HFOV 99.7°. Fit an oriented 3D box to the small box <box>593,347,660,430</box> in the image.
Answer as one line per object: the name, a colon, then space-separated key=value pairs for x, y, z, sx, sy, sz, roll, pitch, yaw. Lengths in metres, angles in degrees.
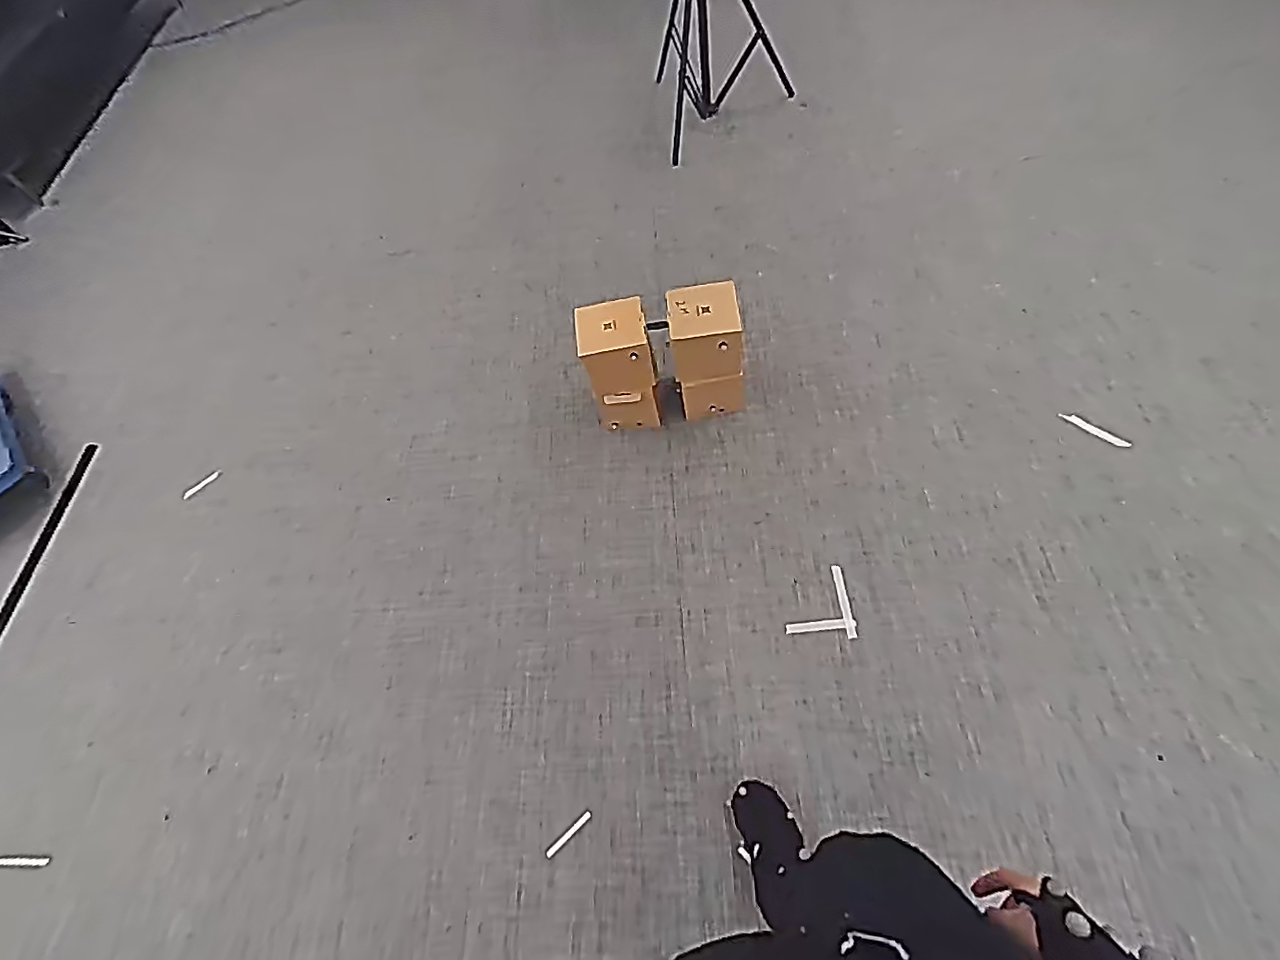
small box: x=-0.032 y=-0.256 z=1.559 sx=0.168 sy=0.176 sz=0.179 roll=-4 pitch=62 yaw=8
